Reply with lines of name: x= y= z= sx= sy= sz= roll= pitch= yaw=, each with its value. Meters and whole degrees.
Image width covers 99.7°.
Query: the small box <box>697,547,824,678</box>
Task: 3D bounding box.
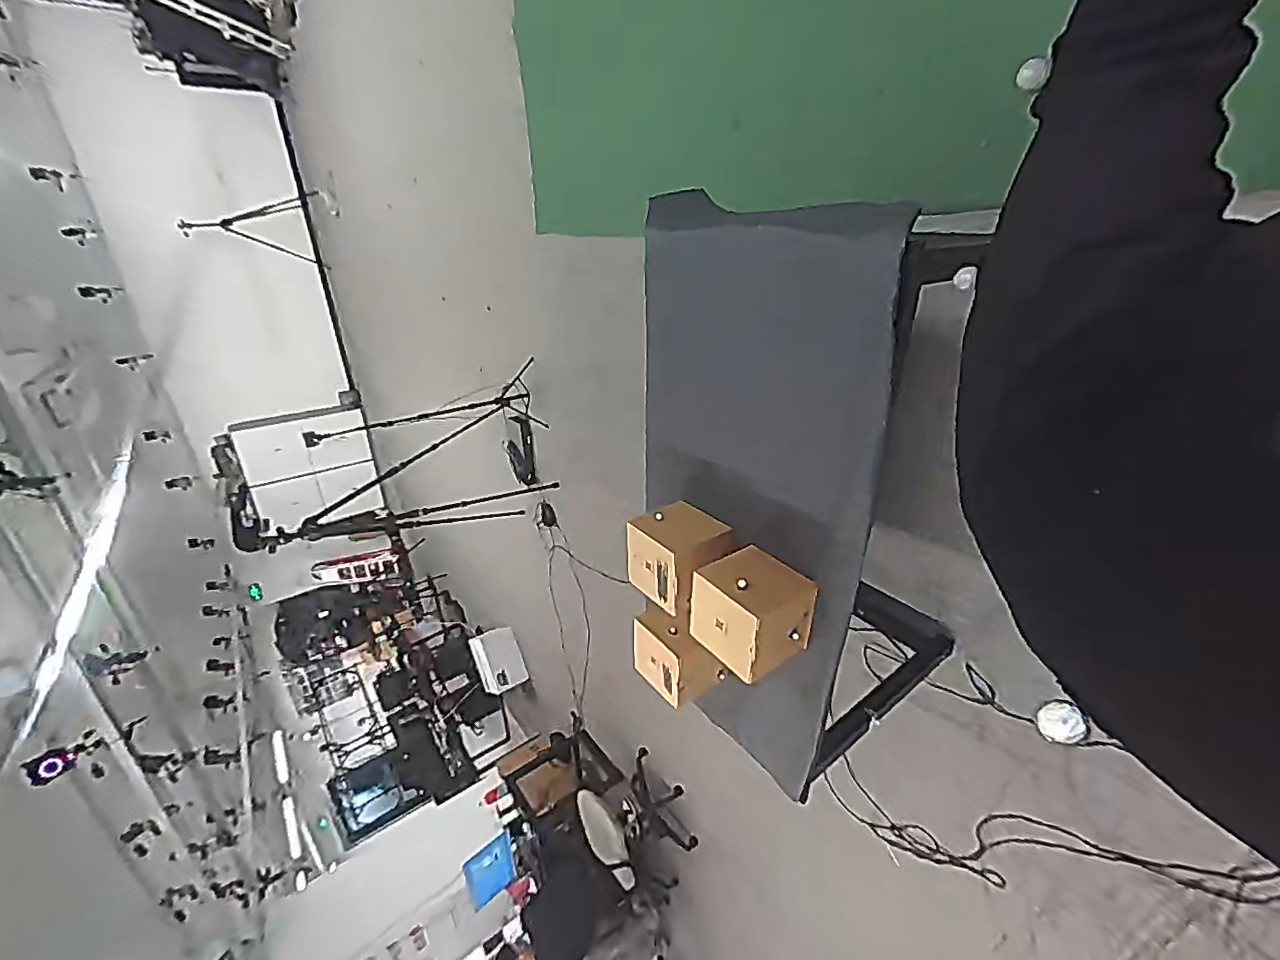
small box: x=0.237 y=0.254 z=1.089 sx=0.179 sy=0.176 sz=0.168 roll=32 pitch=130 yaw=46

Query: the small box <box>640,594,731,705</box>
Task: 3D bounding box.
small box: x=0.118 y=0.411 z=1.345 sx=0.179 sy=0.176 sz=0.168 roll=31 pitch=129 yaw=47
